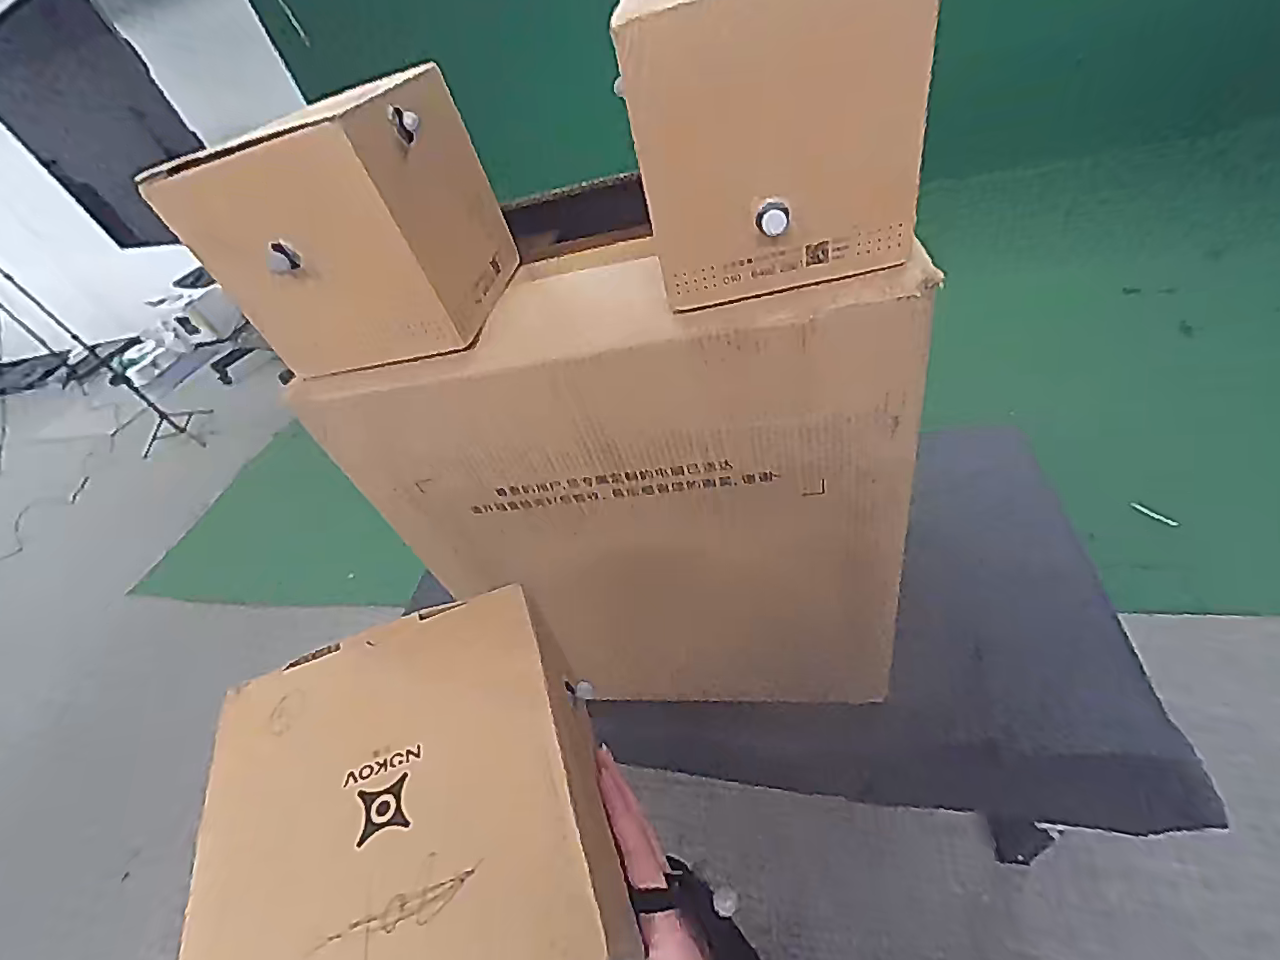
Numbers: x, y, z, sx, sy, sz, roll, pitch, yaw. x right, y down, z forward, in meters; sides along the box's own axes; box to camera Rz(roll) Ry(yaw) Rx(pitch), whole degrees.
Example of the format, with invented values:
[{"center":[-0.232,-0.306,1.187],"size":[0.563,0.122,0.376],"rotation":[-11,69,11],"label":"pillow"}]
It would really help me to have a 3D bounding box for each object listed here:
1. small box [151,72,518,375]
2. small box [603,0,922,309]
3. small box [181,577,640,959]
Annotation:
[{"center":[-0.235,-0.209,0.466],"size":[0.179,0.176,0.168],"rotation":[-7,45,16],"label":"small box"},{"center":[0.080,-0.249,0.389],"size":[0.168,0.176,0.179],"rotation":[-9,44,11],"label":"small box"},{"center":[-0.108,0.191,0.311],"size":[0.168,0.176,0.179],"rotation":[-19,51,-8],"label":"small box"}]
